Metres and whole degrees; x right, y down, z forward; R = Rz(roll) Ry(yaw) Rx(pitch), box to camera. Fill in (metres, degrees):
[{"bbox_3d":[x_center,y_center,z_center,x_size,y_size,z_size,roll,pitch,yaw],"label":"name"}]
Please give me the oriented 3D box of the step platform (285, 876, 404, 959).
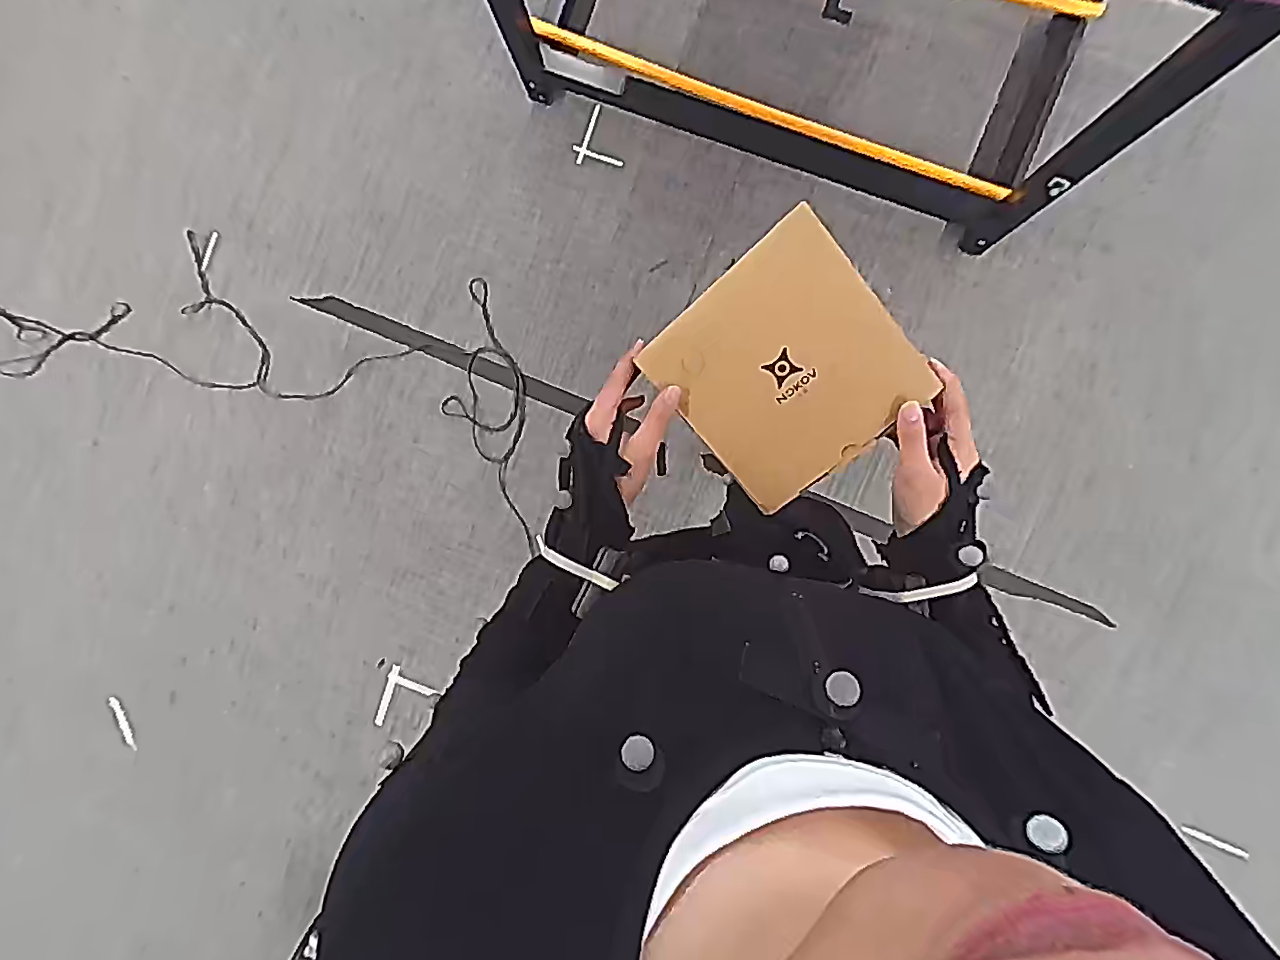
[{"bbox_3d":[-0.567,1.321,1.368,0.684,0.204,0.286,21,94,3],"label":"step platform"}]
